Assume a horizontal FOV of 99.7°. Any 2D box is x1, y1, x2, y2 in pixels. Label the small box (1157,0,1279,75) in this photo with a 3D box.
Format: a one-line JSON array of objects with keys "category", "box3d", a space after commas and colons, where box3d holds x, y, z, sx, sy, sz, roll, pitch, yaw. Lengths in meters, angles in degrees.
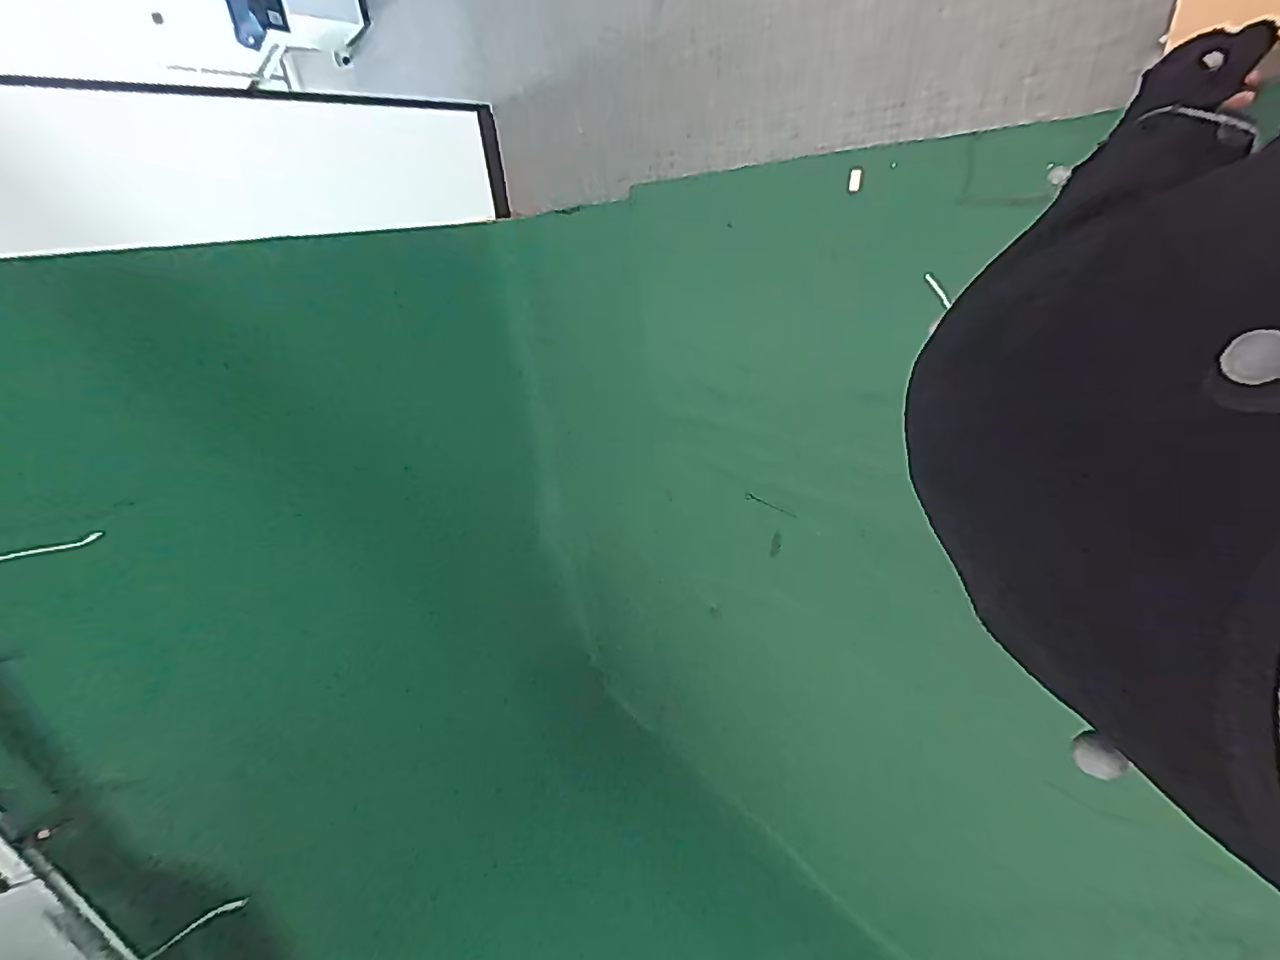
[{"category": "small box", "box3d": [0.936, -0.750, 0.825, 0.168, 0.176, 0.179, 21, 126, 45]}]
